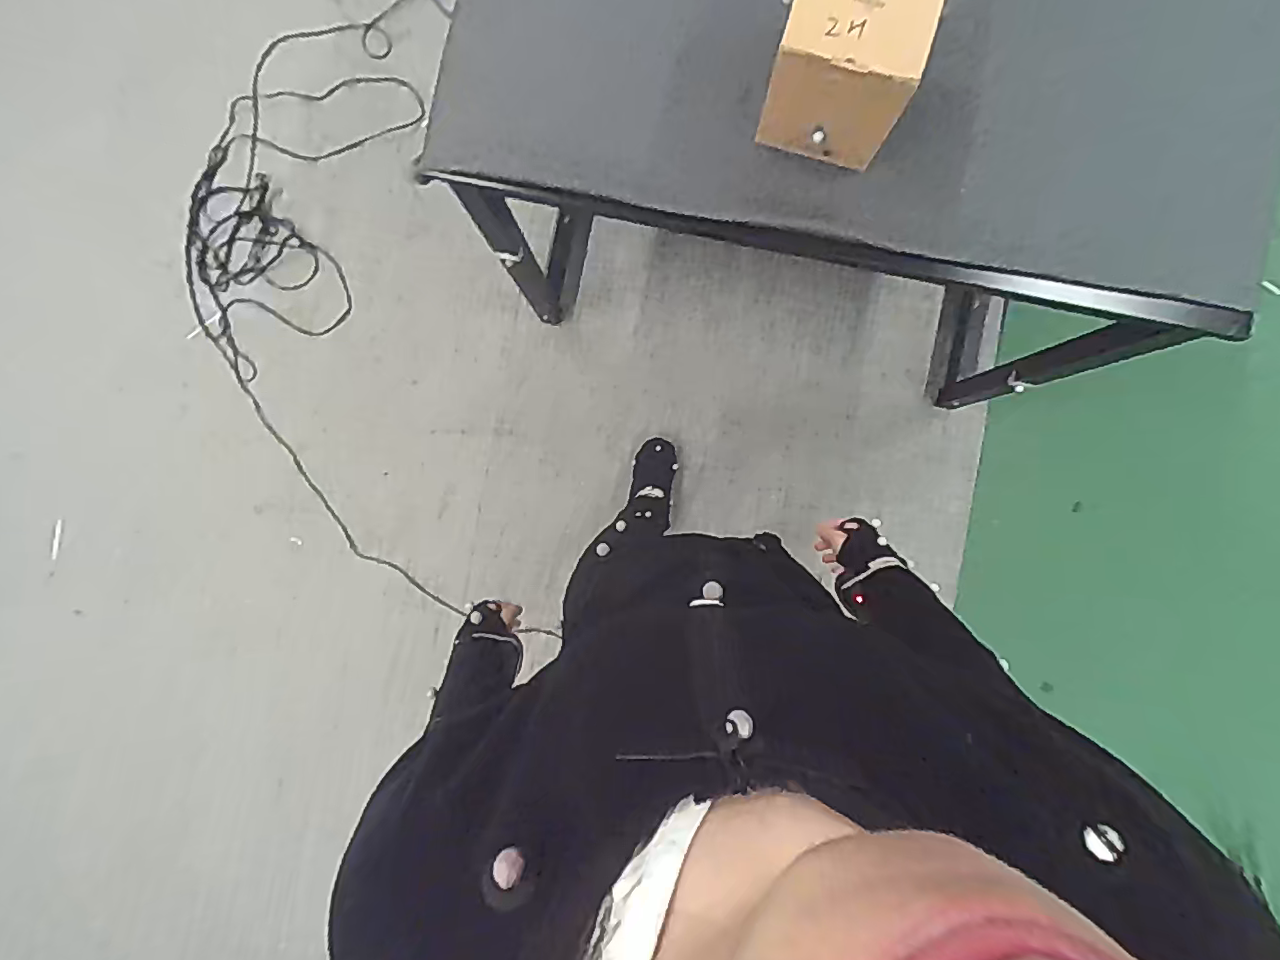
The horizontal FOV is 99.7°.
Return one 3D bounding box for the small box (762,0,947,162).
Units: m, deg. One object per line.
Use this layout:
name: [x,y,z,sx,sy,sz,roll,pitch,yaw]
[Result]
small box: [0.265,-0.553,0.685,0.168,0.176,0.179,17,88,3]
